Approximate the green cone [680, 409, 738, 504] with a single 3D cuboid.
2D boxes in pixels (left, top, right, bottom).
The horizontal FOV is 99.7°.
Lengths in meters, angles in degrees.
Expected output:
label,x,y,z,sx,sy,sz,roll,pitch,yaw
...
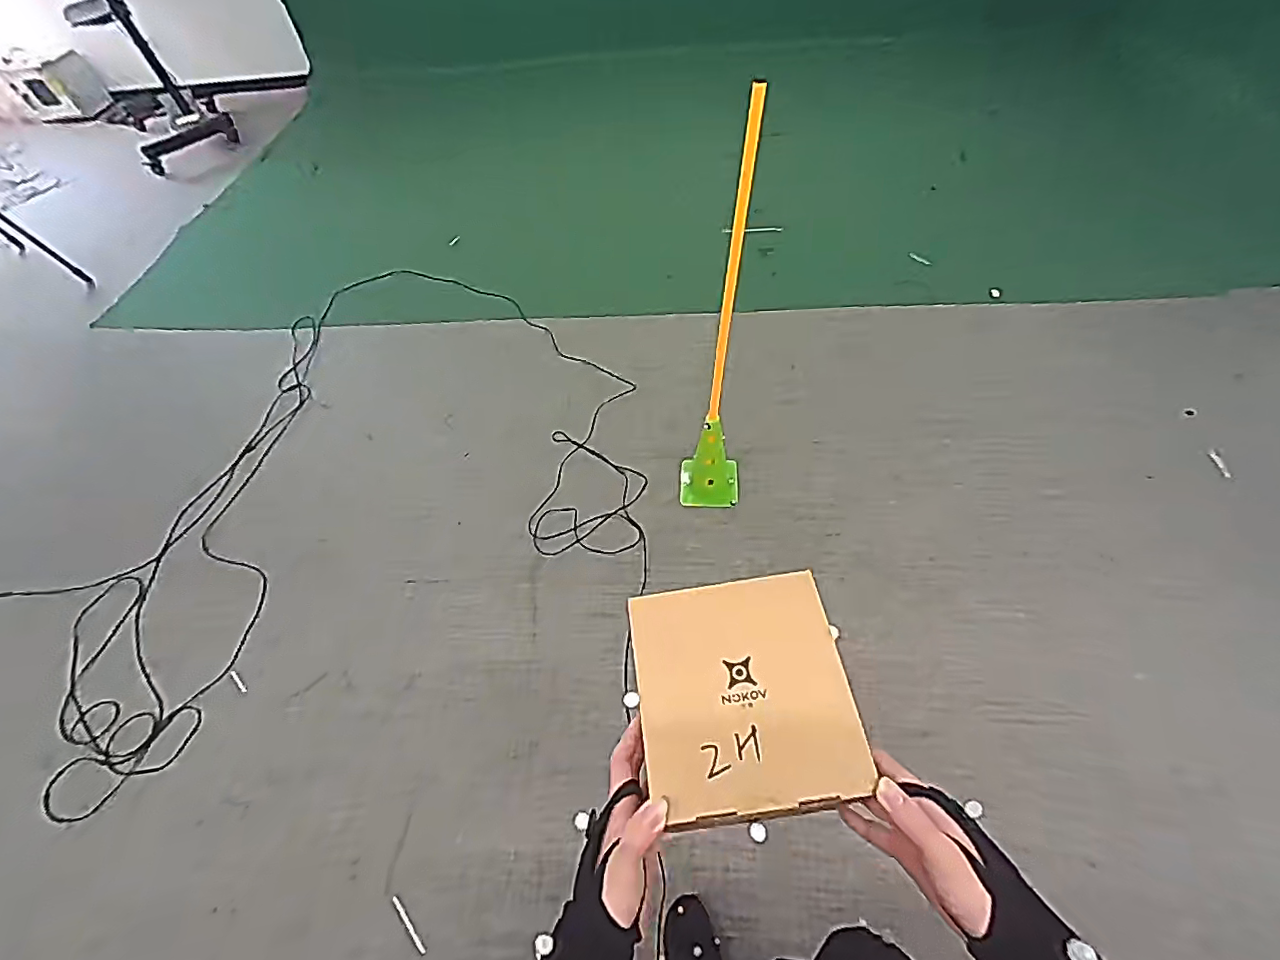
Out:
label,x,y,z,sx,sy,sz,roll,pitch,yaw
green cone,0.229,-0.099,1.769,0.202,0.368,0.200,0,54,6
